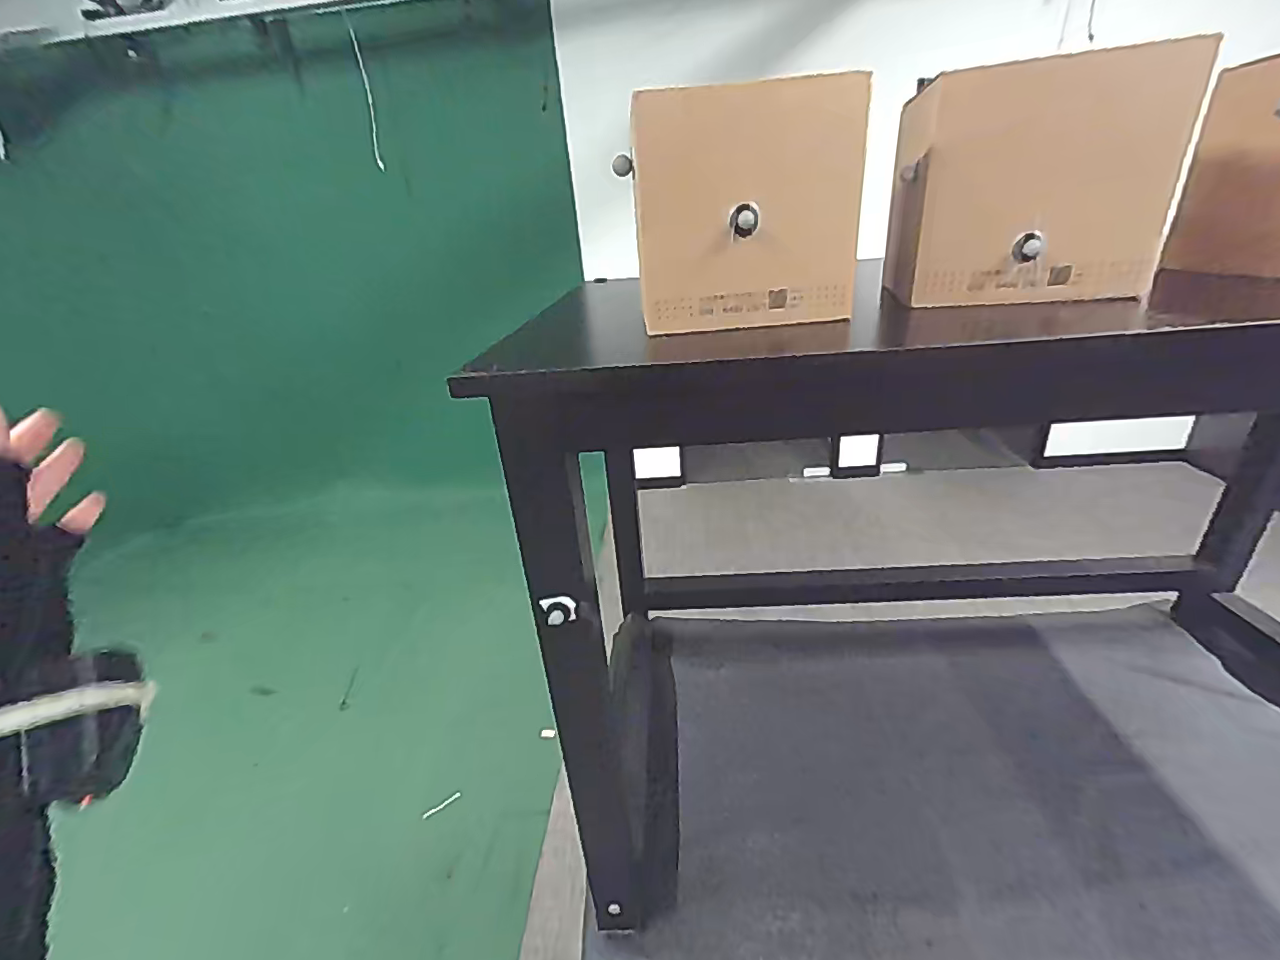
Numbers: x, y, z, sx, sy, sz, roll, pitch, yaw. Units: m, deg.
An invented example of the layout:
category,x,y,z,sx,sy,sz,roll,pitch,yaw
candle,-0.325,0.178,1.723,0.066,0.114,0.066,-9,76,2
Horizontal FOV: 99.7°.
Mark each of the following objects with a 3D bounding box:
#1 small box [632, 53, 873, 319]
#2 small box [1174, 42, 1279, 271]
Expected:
category,x,y,z,sx,sy,sz,roll,pitch,yaw
small box,0.082,-0.239,0.471,0.168,0.176,0.179,-4,25,1
small box,0.594,-0.259,0.421,0.168,0.176,0.179,-5,25,0
